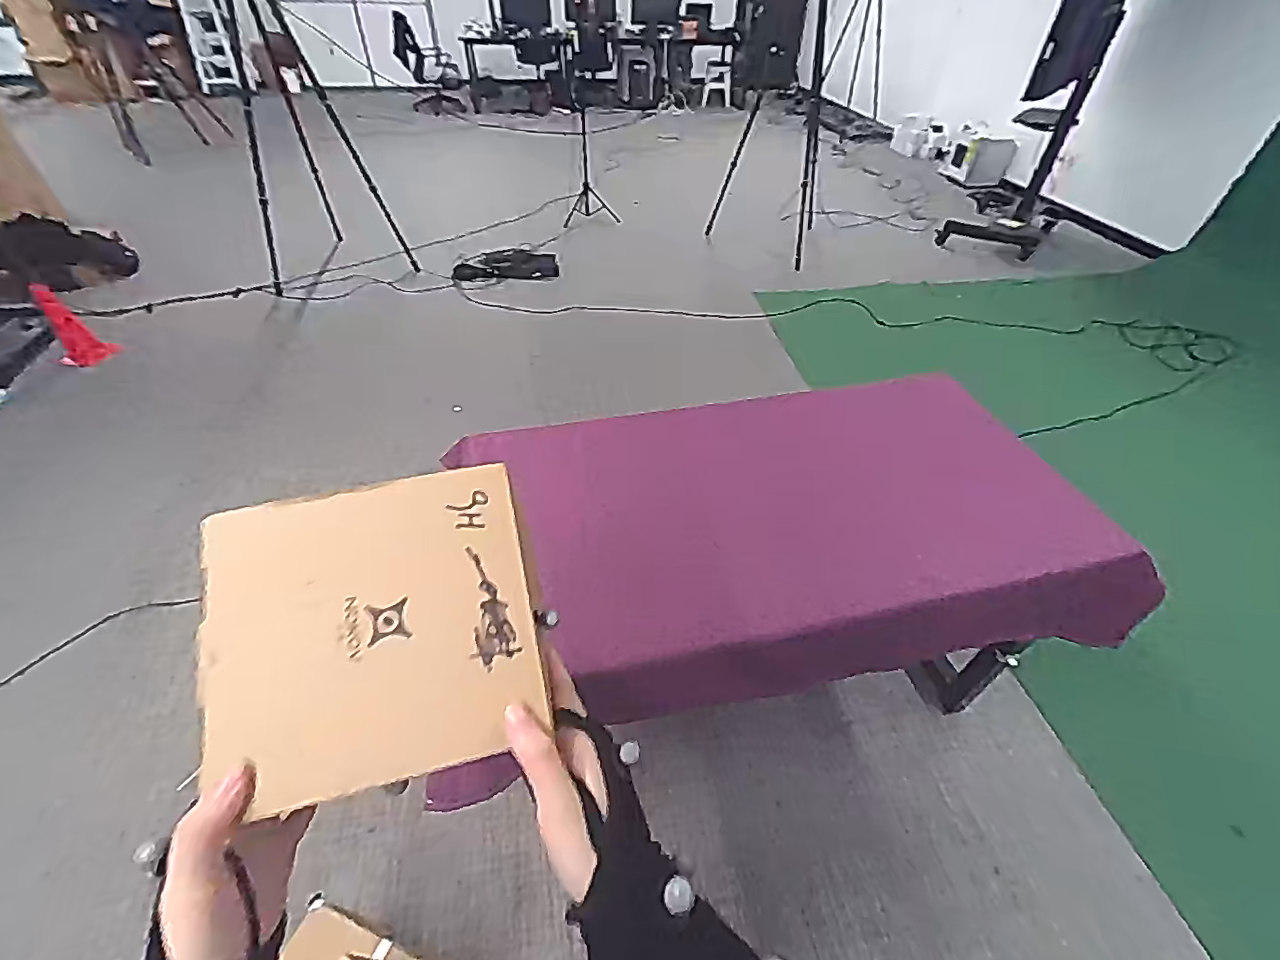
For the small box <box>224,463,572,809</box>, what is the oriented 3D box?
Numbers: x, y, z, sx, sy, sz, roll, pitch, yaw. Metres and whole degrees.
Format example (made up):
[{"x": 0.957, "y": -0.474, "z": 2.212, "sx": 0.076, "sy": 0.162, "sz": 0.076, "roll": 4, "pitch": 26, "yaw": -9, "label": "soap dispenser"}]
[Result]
[{"x": -0.151, "y": 0.105, "z": 0.386, "sx": 0.179, "sy": 0.176, "sz": 0.168, "roll": -11, "pitch": 73, "yaw": -9, "label": "small box"}]

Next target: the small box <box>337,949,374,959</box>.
[{"x": -0.394, "y": 0.805, "z": 0.748, "sx": 0.179, "sy": 0.176, "sz": 0.168, "roll": 27, "pitch": 49, "yaw": 17, "label": "small box"}]
